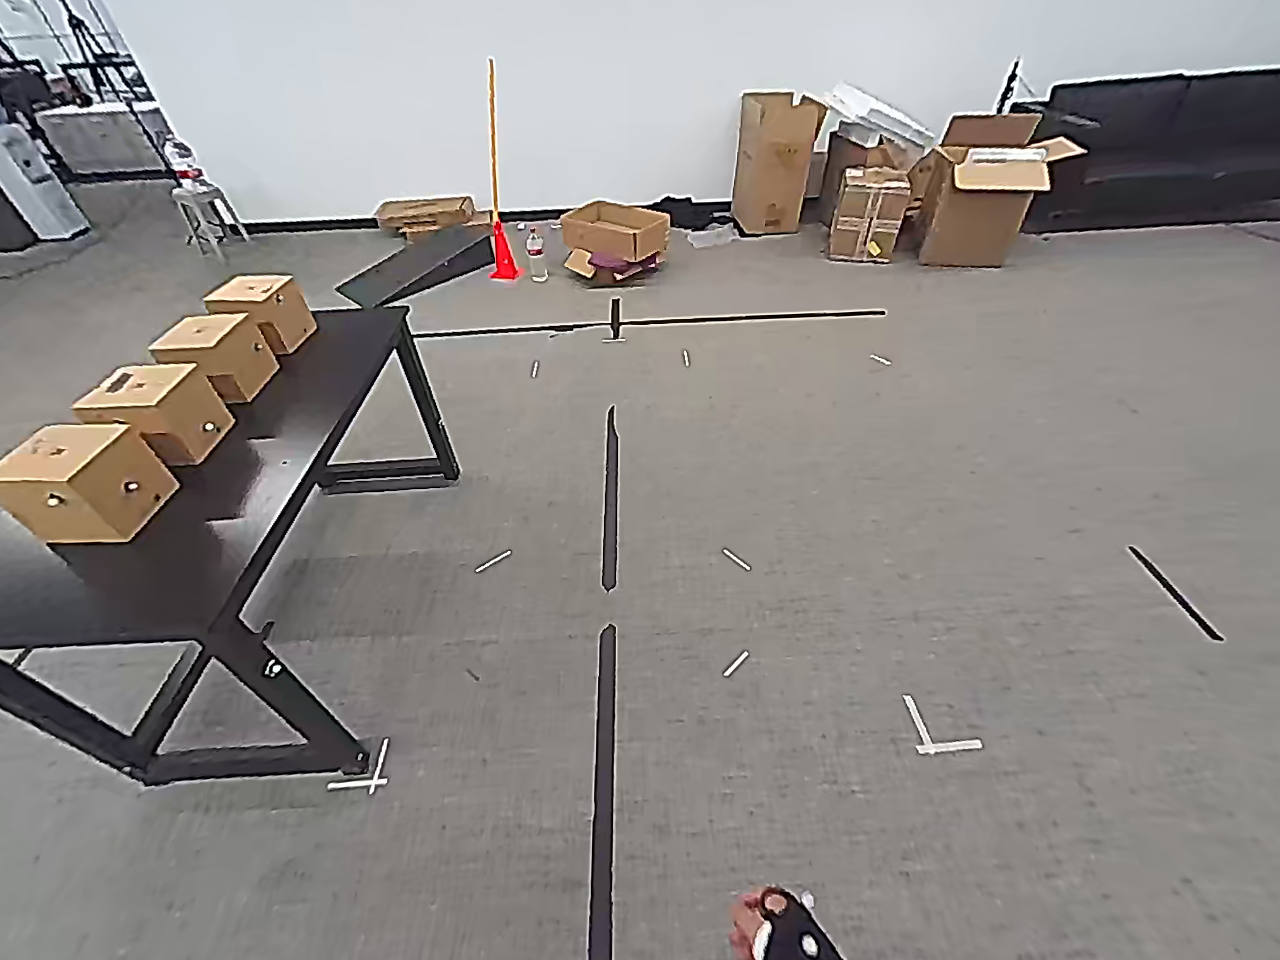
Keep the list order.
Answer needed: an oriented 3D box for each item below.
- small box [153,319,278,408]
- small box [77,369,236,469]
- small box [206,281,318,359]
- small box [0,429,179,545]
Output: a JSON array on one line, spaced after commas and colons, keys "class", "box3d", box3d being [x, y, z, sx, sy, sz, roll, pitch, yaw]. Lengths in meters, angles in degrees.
[{"class": "small box", "box3d": [-1.097, -0.304, 1.420, 0.168, 0.176, 0.179, -4, 44, 1]}, {"class": "small box", "box3d": [-1.088, -0.137, 1.236, 0.179, 0.176, 0.168, -3, 43, -2]}, {"class": "small box", "box3d": [-1.104, -0.470, 1.595, 0.179, 0.176, 0.168, 0, 44, 5]}, {"class": "small box", "box3d": [-1.086, 0.016, 1.072, 0.179, 0.176, 0.168, -1, 42, 2]}]
